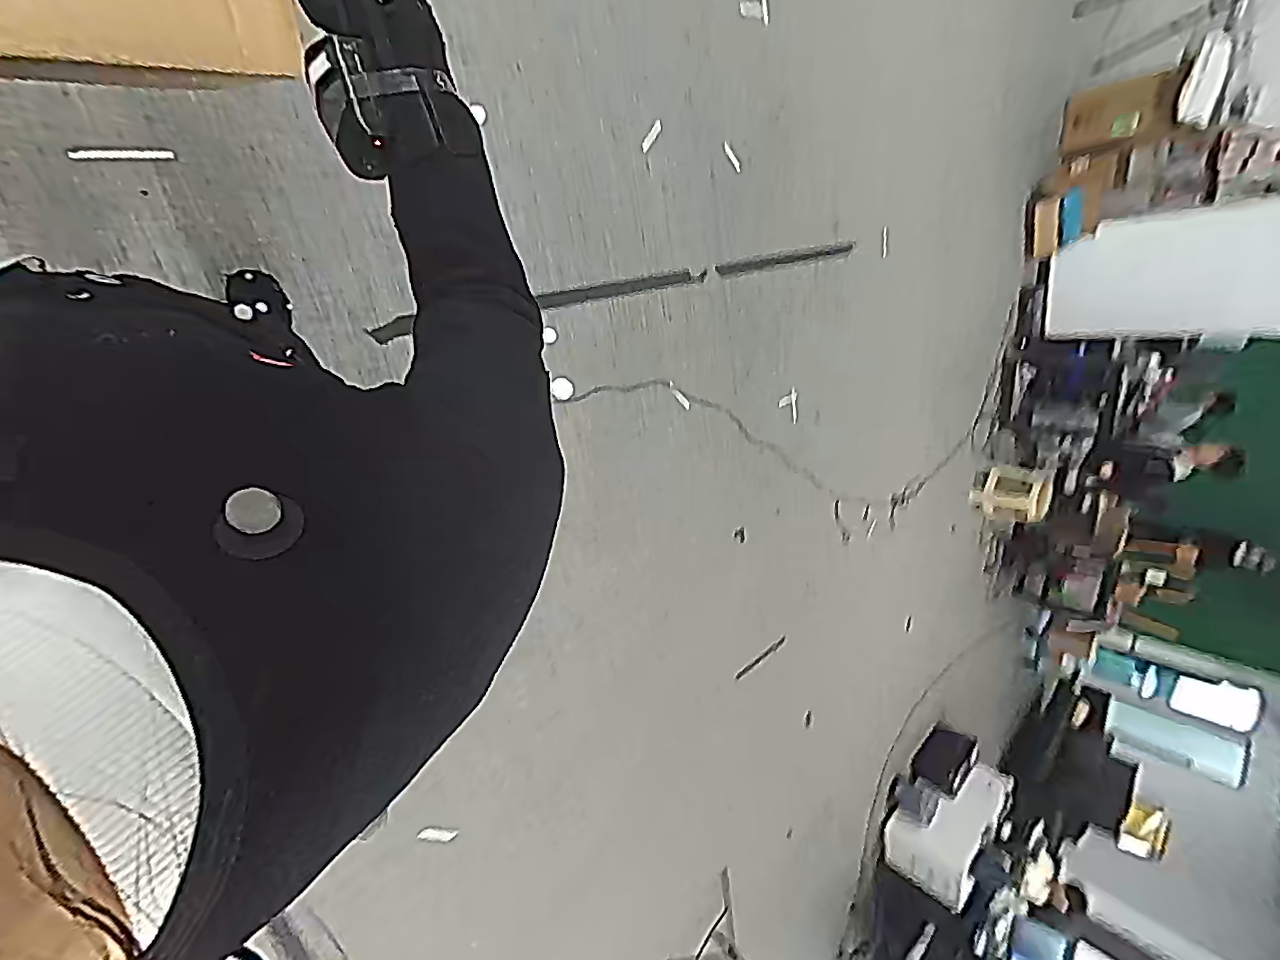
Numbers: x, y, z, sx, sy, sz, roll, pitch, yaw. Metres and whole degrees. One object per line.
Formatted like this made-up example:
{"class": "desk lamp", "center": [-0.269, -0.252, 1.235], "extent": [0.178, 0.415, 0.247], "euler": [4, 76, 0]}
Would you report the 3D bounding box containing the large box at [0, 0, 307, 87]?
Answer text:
{"class": "large box", "center": [-0.474, -0.404, 0.274], "extent": [0.408, 0.320, 0.320], "euler": [-25, 132, -35]}
